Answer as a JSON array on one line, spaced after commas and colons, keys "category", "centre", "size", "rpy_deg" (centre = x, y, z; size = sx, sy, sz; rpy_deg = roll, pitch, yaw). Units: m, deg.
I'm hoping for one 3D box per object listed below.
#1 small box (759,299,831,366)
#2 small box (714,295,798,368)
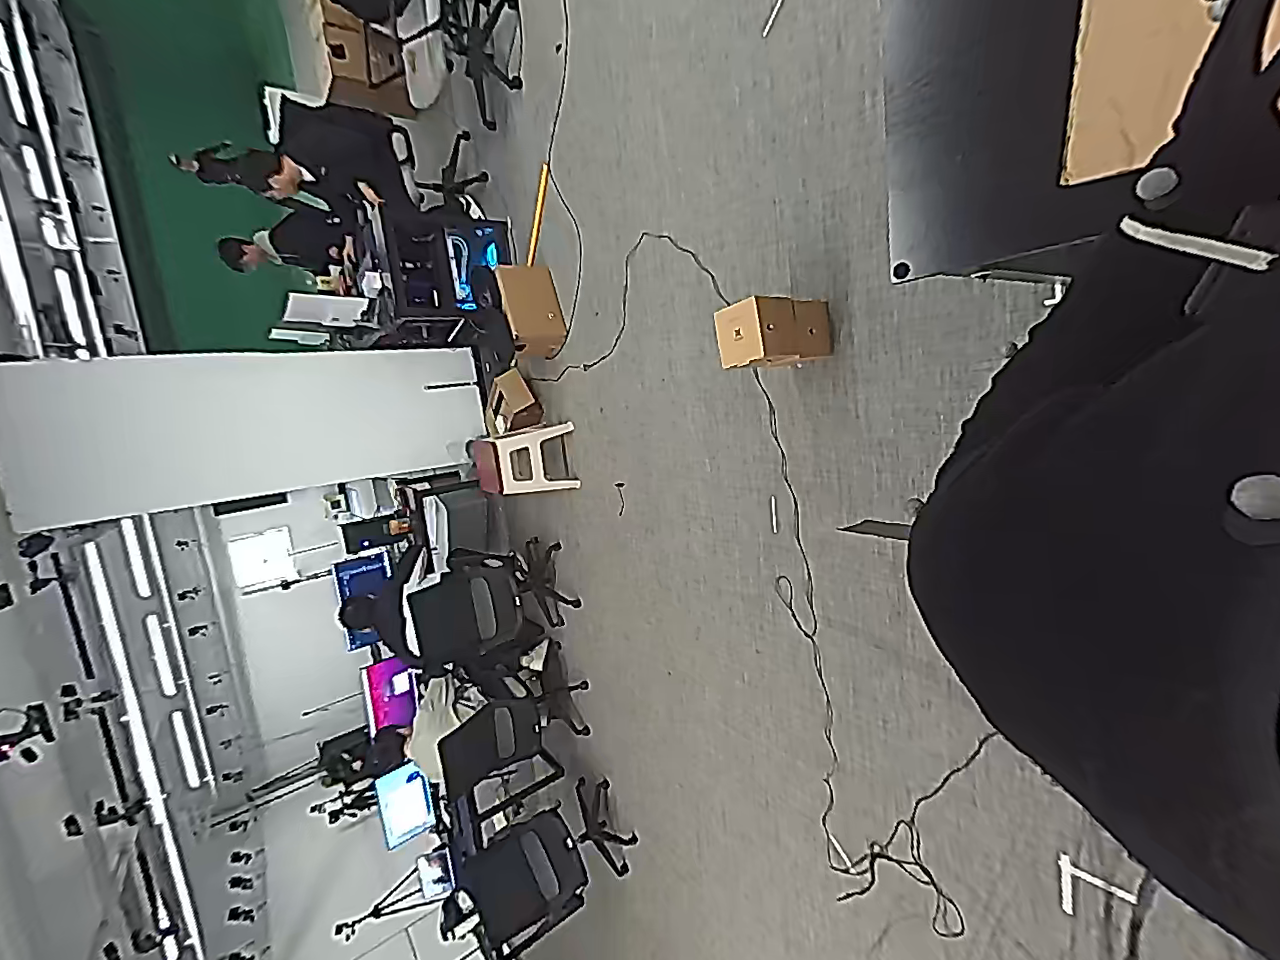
[{"category": "small box", "centre": [0.481, -0.463, 1.706], "size": [0.168, 0.176, 0.179], "rpy_deg": [-1, 100, 54]}, {"category": "small box", "centre": [0.350, -0.440, 1.612], "size": [0.168, 0.176, 0.179], "rpy_deg": [-6, 94, 53]}]
